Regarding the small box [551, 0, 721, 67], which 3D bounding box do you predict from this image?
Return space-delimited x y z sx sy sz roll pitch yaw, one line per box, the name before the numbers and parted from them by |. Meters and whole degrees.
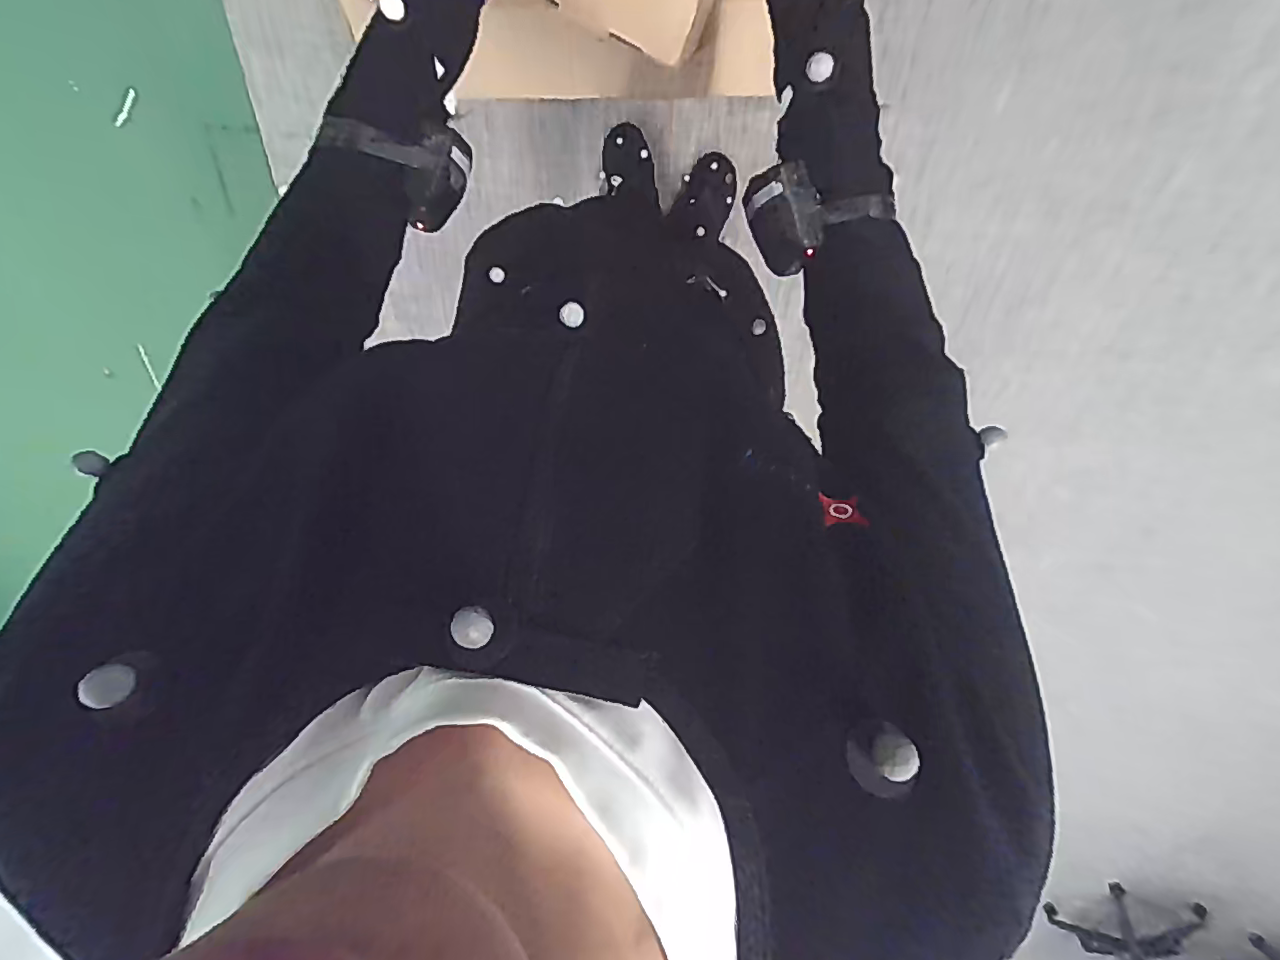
small box | 0.008 -0.484 0.442 0.168 0.176 0.179 22 132 -8
